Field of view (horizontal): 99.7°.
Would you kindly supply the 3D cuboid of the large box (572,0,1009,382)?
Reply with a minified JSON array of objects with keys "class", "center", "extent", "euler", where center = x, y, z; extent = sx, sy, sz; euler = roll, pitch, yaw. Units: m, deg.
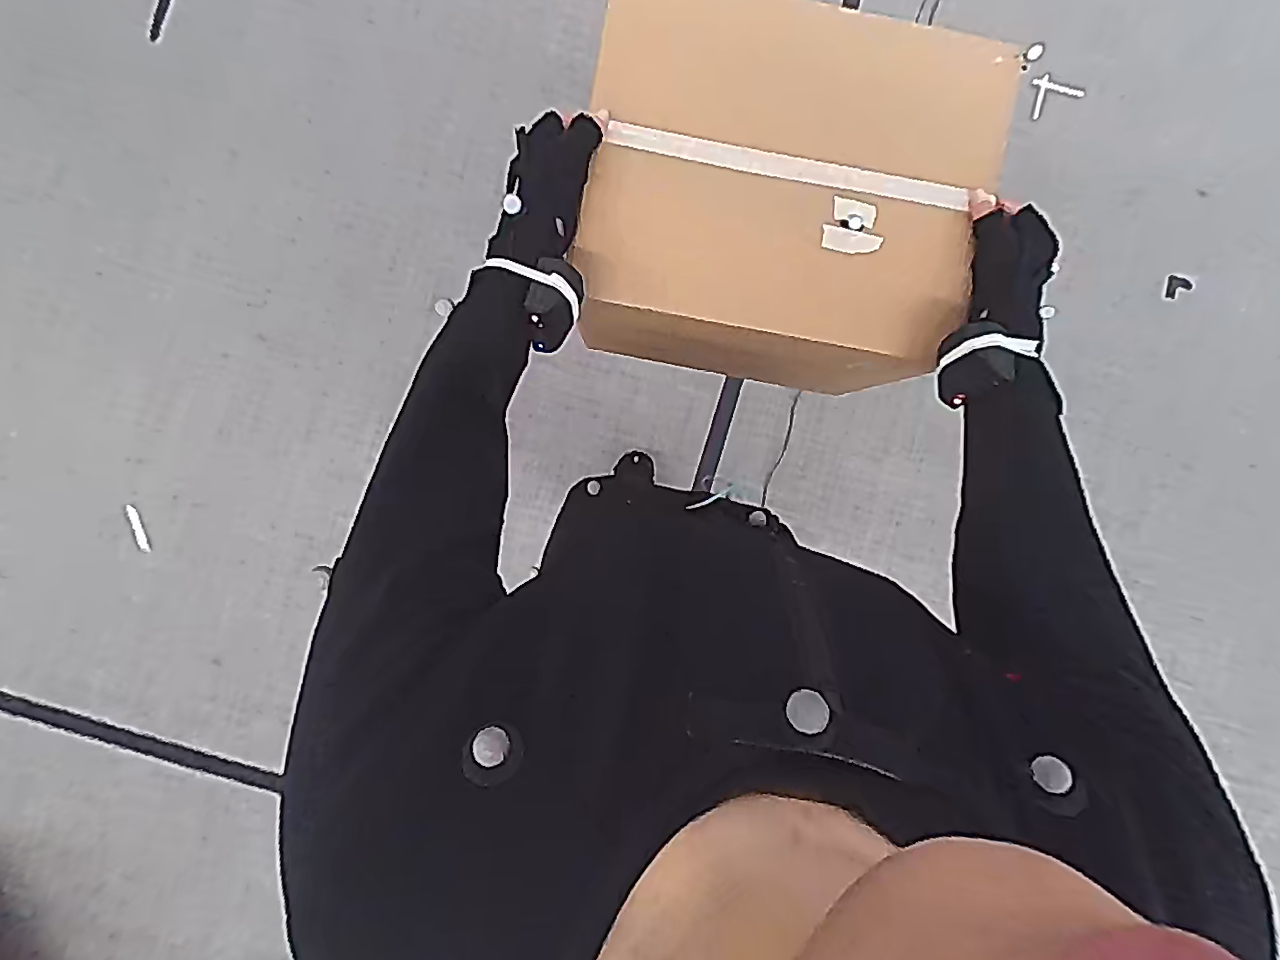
[{"class":"large box","center":[0.143,-0.324,0.686],"extent":[0.408,0.320,0.320],"euler":[10,94,-3]}]
